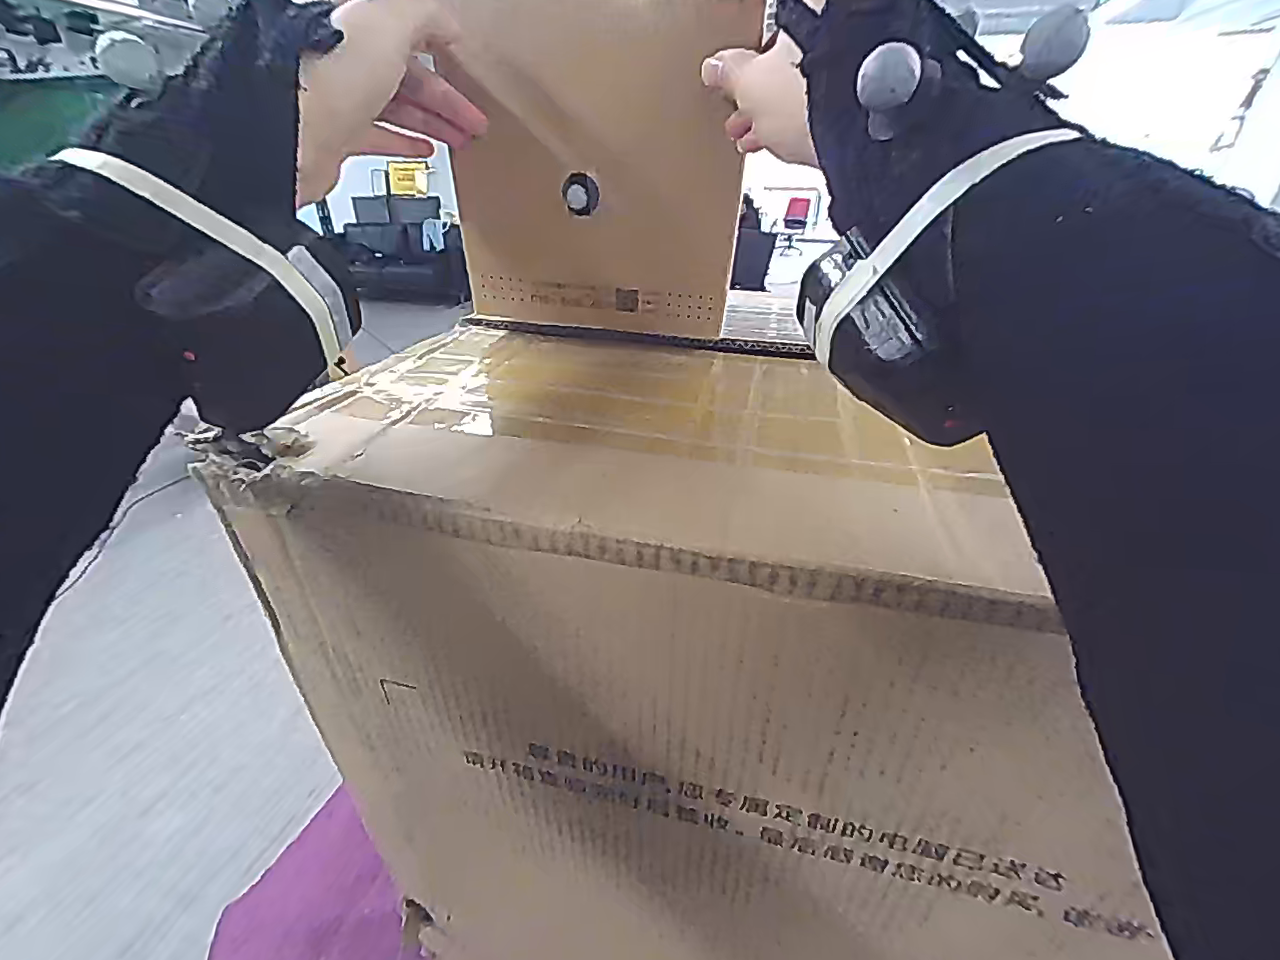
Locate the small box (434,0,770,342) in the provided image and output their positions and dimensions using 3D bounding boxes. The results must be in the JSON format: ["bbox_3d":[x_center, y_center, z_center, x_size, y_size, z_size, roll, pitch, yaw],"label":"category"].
[{"bbox_3d":[-0.009,-0.210,0.368,0.168,0.176,0.179,9,40,6],"label":"small box"}]
